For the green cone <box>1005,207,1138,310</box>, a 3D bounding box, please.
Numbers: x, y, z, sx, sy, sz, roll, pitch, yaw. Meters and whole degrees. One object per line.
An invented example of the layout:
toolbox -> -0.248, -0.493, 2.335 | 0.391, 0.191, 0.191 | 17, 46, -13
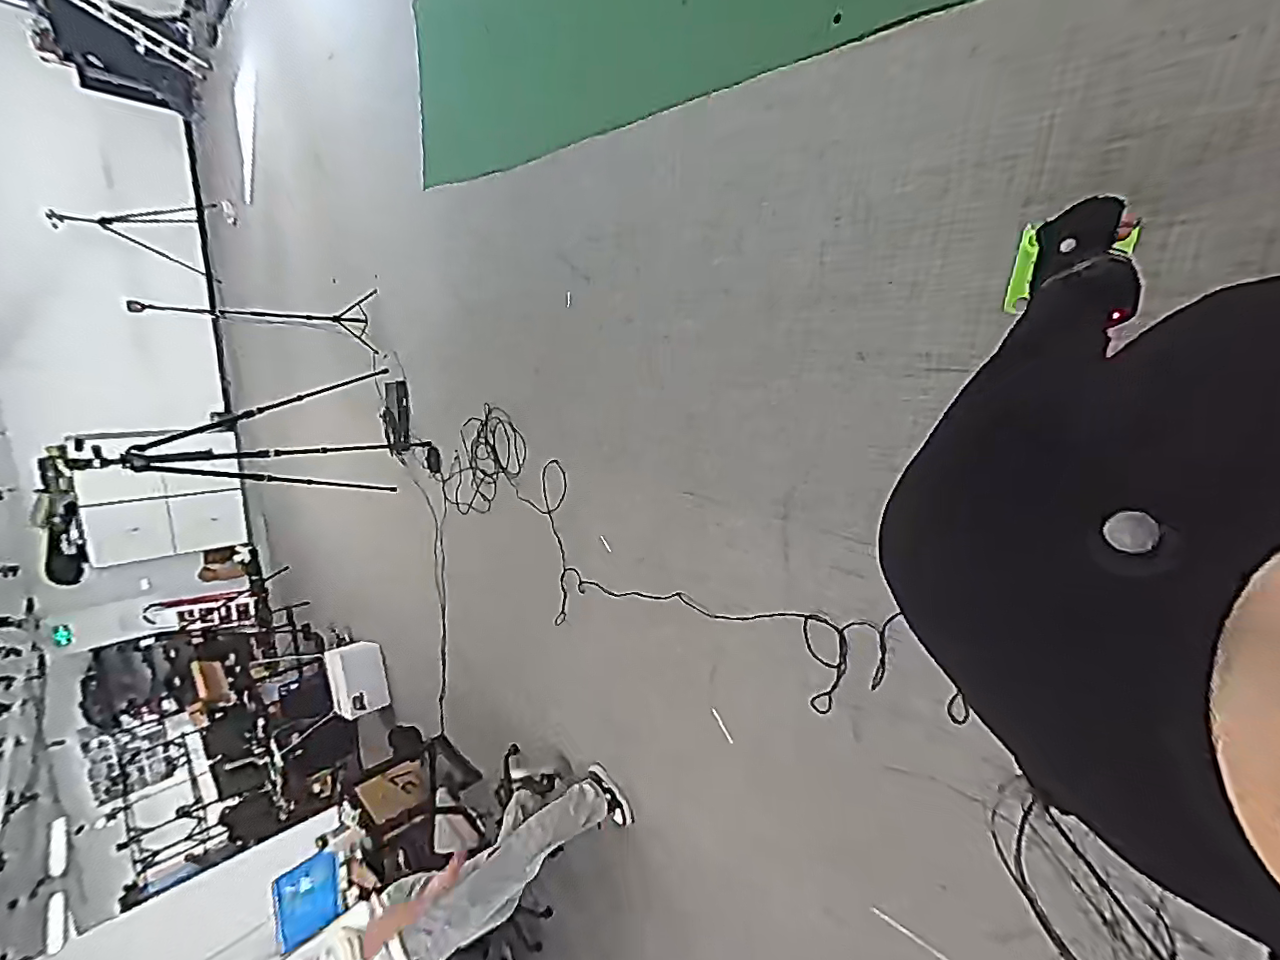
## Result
green cone -> 0.802, -0.447, 1.051 | 0.200, 0.368, 0.202 | 19, 112, 42
